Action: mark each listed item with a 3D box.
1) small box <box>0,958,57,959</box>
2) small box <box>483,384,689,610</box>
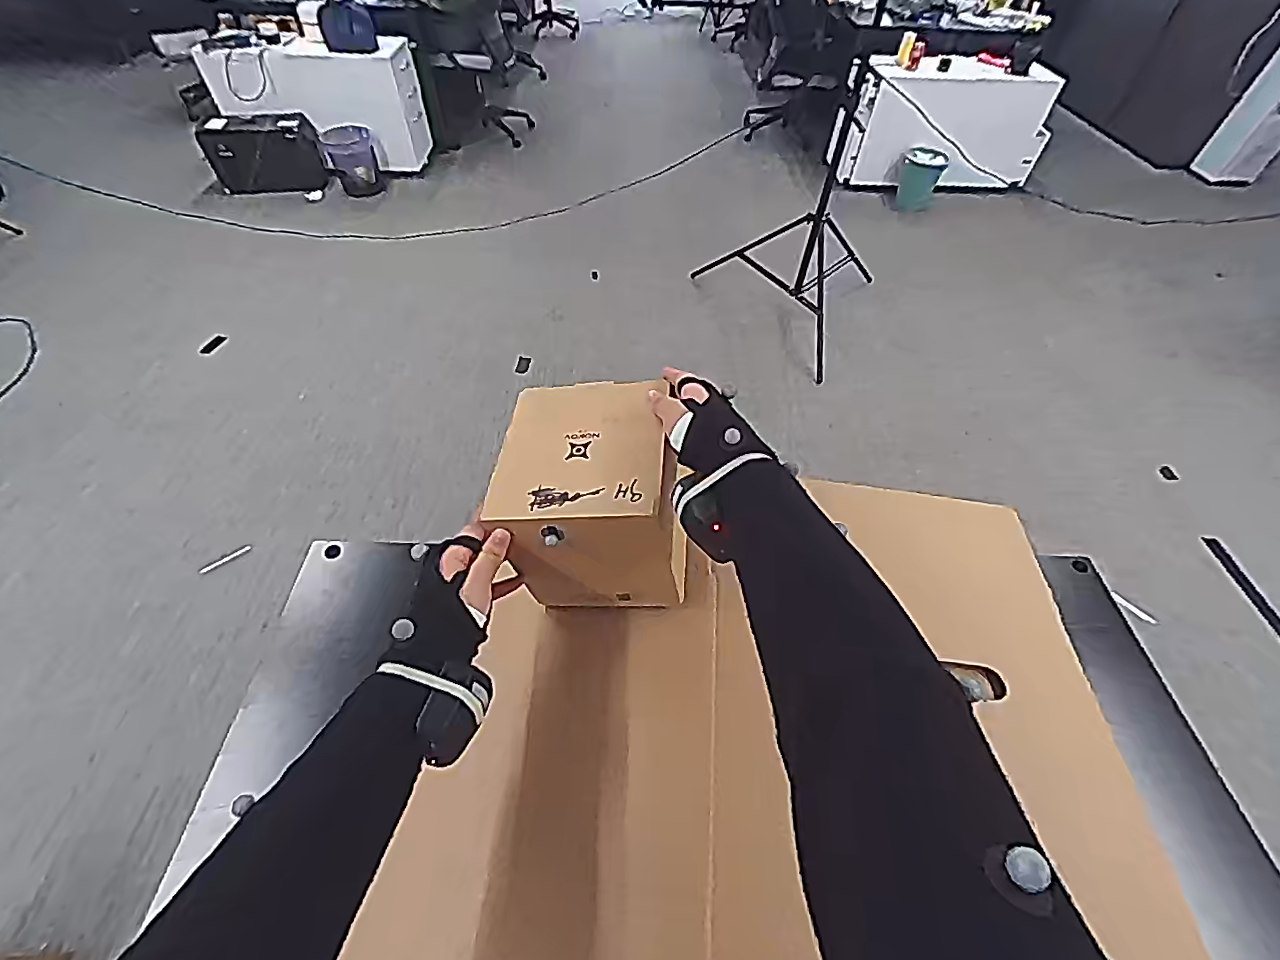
[{"bbox_3d":[-1.181,0.952,0.939,0.168,0.176,0.179,-2,51,-4],"label":"small box"},{"bbox_3d":[-0.040,0.021,0.582,0.168,0.176,0.179,-3,50,12],"label":"small box"}]
